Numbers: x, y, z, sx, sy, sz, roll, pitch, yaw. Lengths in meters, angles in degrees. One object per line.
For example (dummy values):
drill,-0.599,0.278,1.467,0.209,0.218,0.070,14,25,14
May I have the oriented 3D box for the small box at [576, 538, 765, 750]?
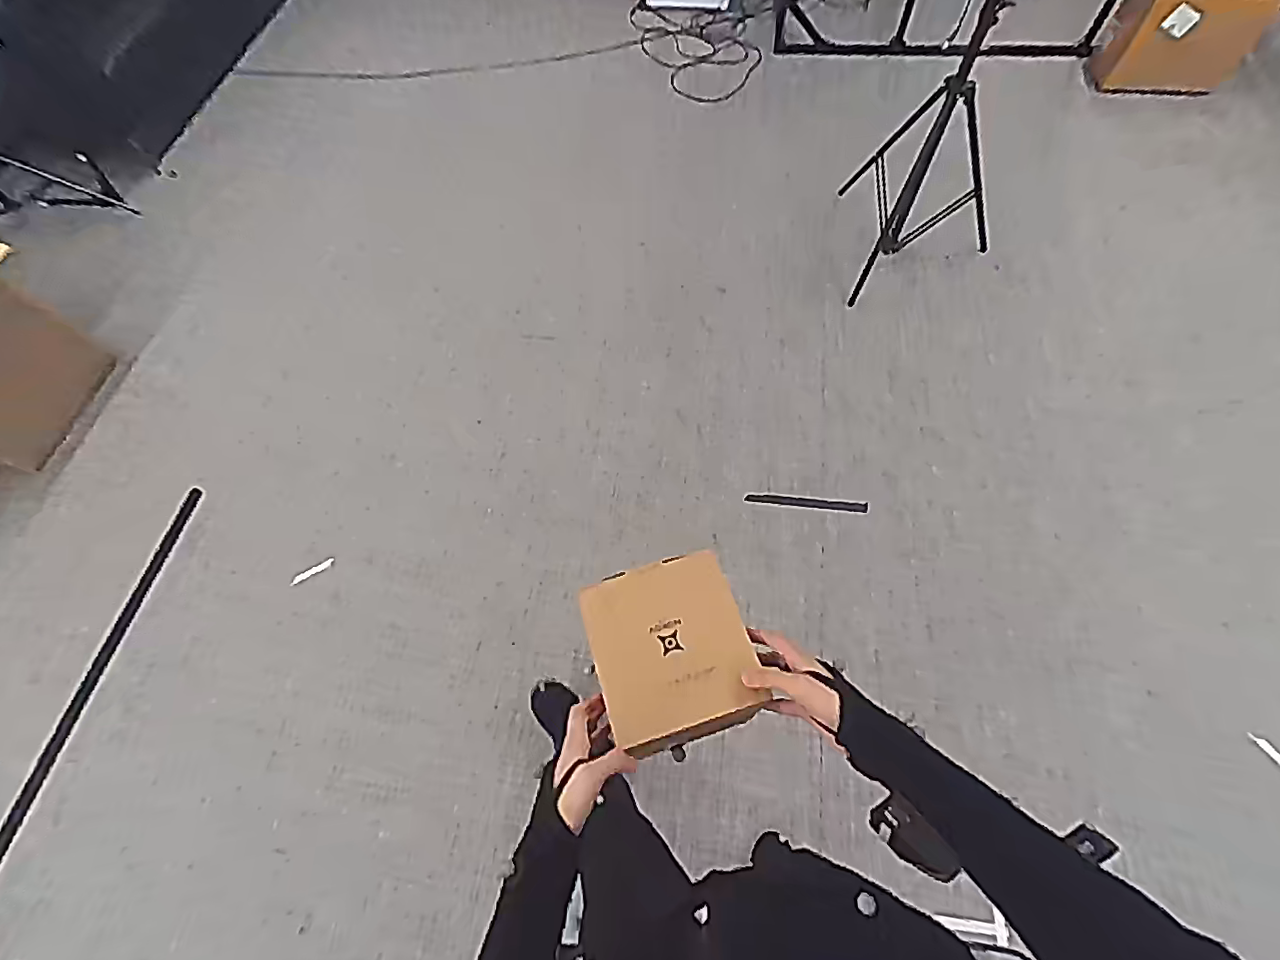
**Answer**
small box,0.026,0.198,0.644,0.168,0.176,0.179,-14,58,-8
